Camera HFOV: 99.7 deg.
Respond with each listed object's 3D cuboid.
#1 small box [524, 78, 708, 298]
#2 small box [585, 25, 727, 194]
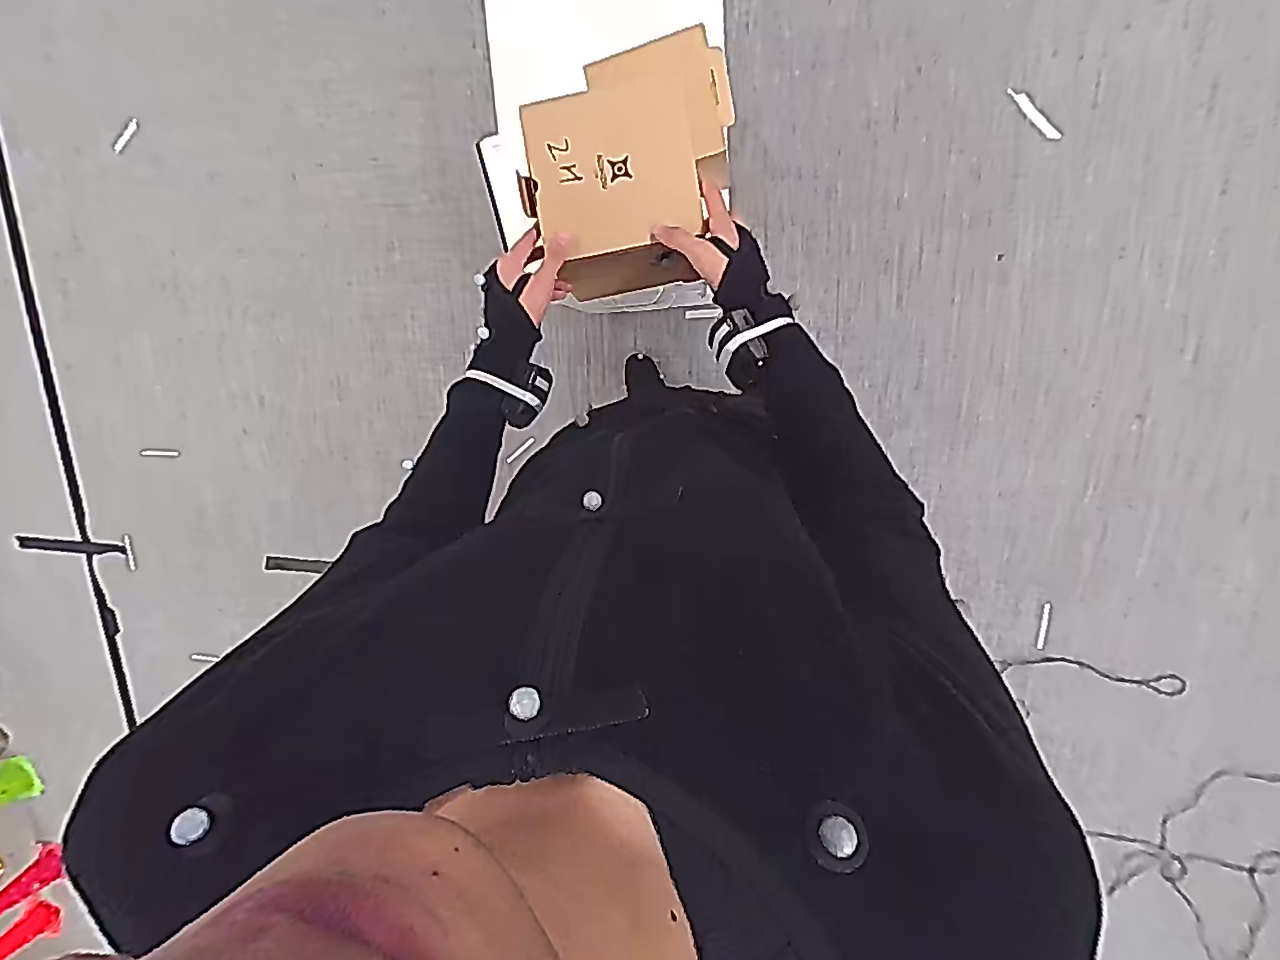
[{"bbox_3d":[-0.020,-0.332,0.650,0.179,0.176,0.168,-9,96,6],"label":"small box"},{"bbox_3d":[0.034,-0.536,0.832,0.179,0.176,0.168,-10,100,13],"label":"small box"}]
